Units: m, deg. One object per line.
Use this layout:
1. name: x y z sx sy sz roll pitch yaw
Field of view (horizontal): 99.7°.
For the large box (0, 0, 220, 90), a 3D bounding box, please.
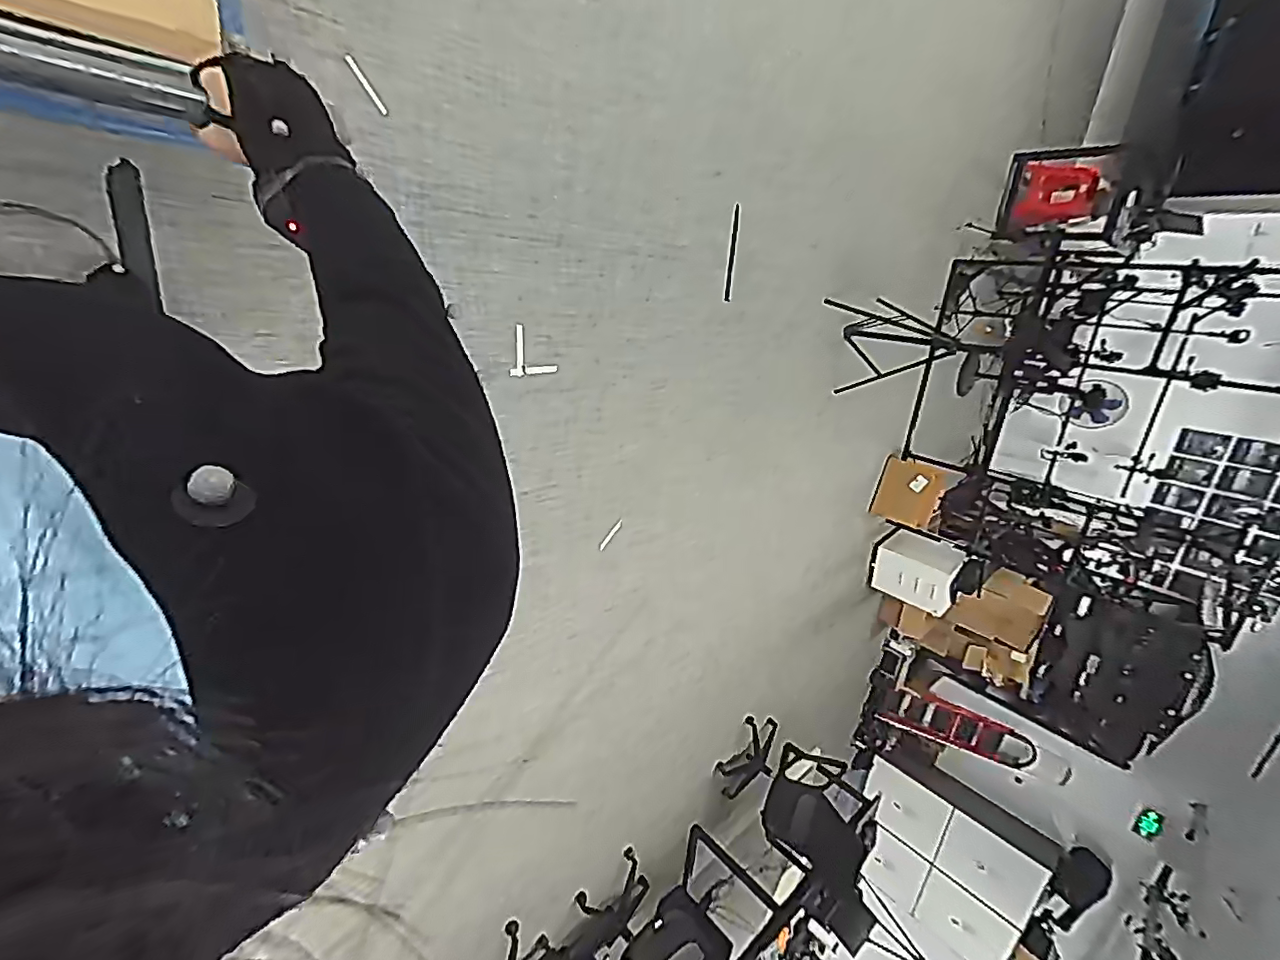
1. large box: -0.803 -0.723 0.647 0.408 0.320 0.320 -13 121 -44
